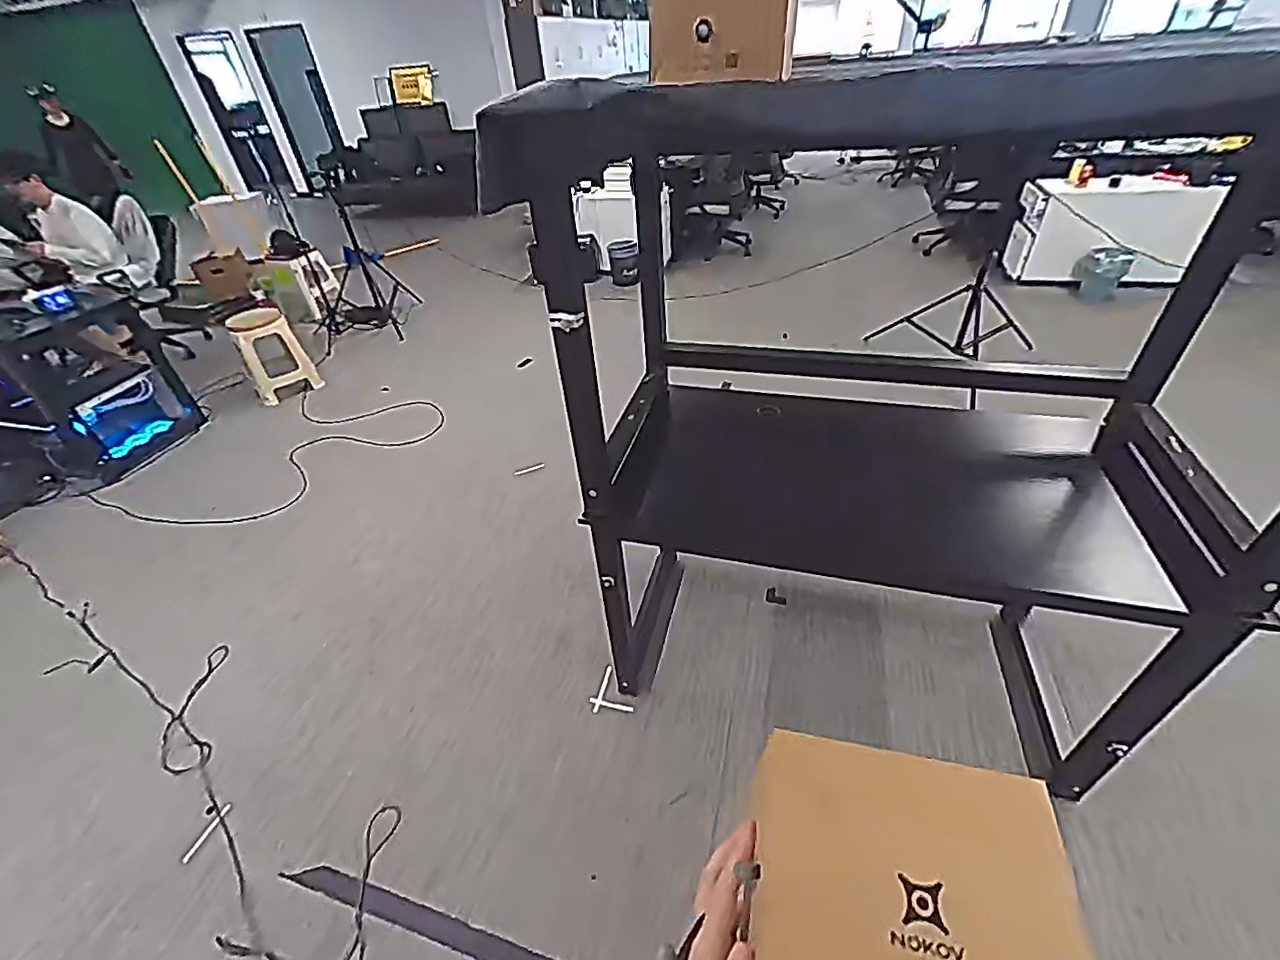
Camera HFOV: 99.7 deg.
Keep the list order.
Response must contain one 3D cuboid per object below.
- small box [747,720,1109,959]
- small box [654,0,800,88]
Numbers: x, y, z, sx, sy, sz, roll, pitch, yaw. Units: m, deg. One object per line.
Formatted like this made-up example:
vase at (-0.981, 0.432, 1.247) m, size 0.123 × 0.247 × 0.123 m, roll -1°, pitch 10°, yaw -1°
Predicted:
small box at (0.159, 0.286, 0.344) m, size 0.168 × 0.176 × 0.179 m, roll 7°, pitch 47°, yaw 11°
small box at (0.113, -0.604, 0.683) m, size 0.168 × 0.176 × 0.179 m, roll 8°, pitch 39°, yaw 14°
